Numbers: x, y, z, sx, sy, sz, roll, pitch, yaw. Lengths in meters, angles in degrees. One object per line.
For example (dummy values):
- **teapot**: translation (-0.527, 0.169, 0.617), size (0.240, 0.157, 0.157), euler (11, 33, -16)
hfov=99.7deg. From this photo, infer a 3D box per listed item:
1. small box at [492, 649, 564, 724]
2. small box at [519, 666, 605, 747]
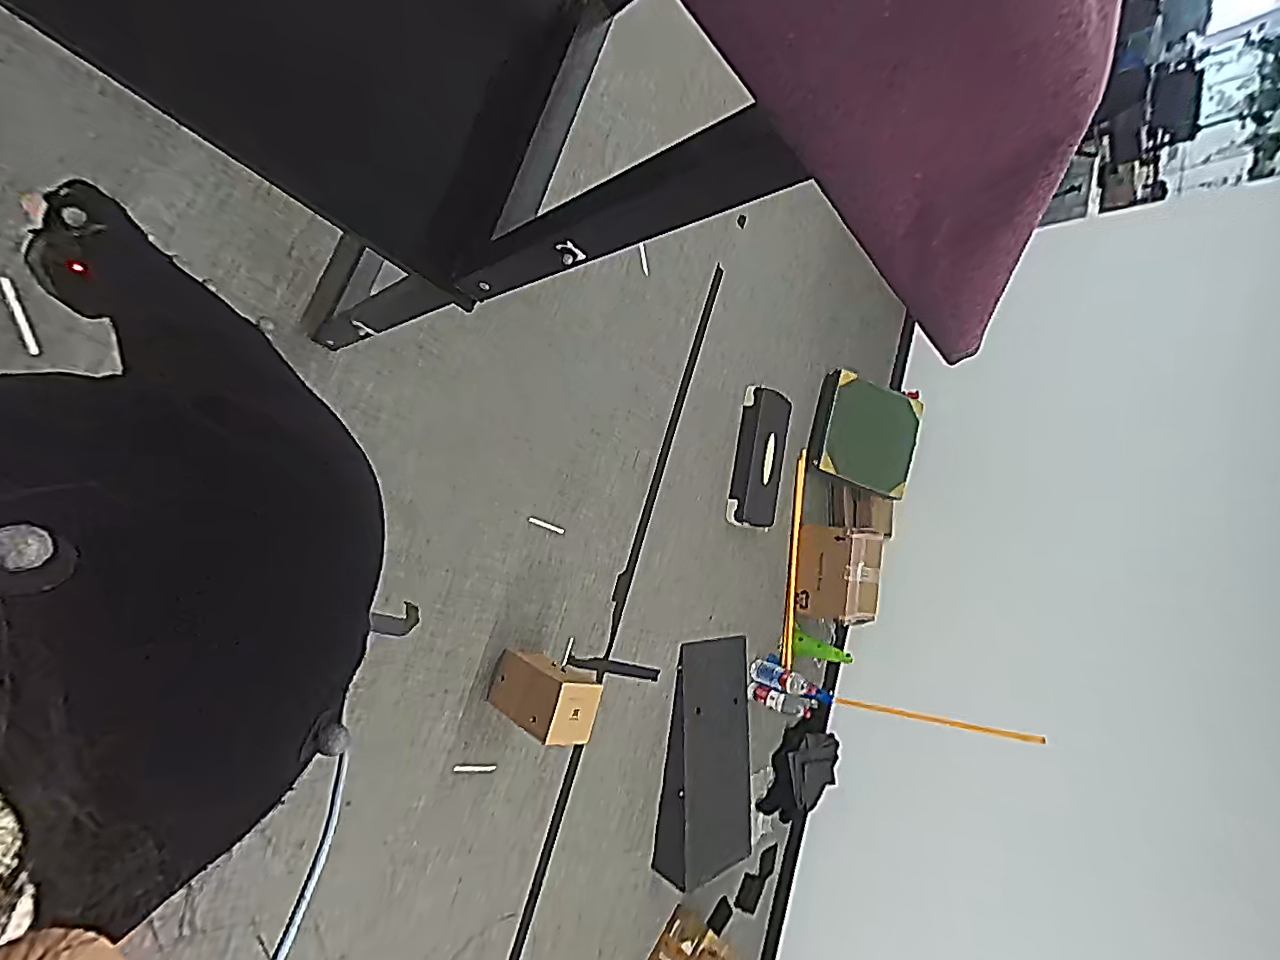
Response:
- **small box**: translation (-0.349, 0.665, 1.736), size (0.168, 0.176, 0.179), euler (28, 76, -42)
- **small box**: translation (-0.237, 0.675, 1.616), size (0.168, 0.176, 0.179), euler (26, 76, -43)
